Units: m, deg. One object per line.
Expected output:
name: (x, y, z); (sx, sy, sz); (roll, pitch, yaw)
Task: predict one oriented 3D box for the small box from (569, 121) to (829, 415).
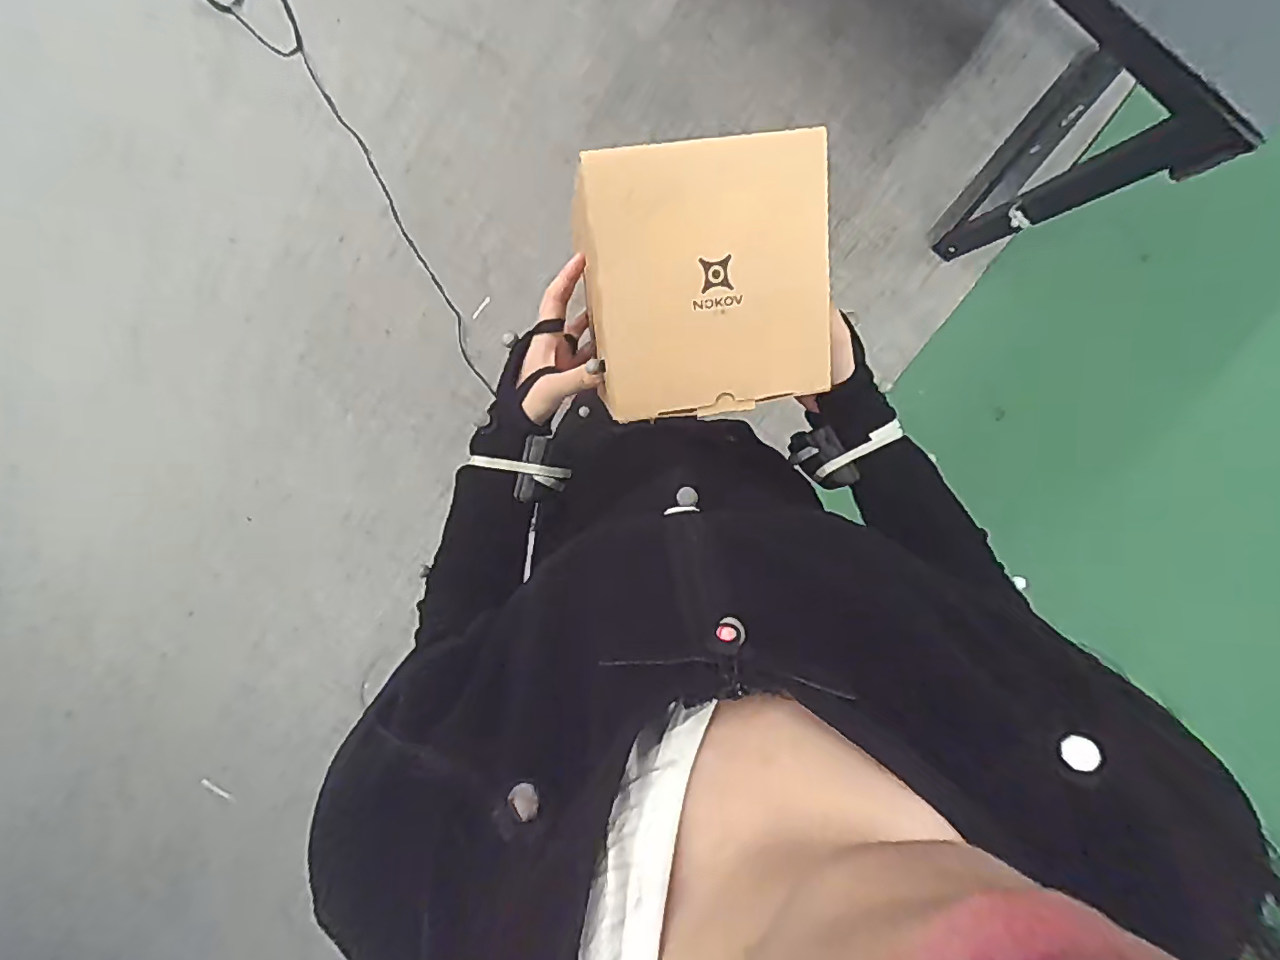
small box: (0.037, -0.162, 0.443); (0.168, 0.176, 0.179); (-10, 109, -7)
